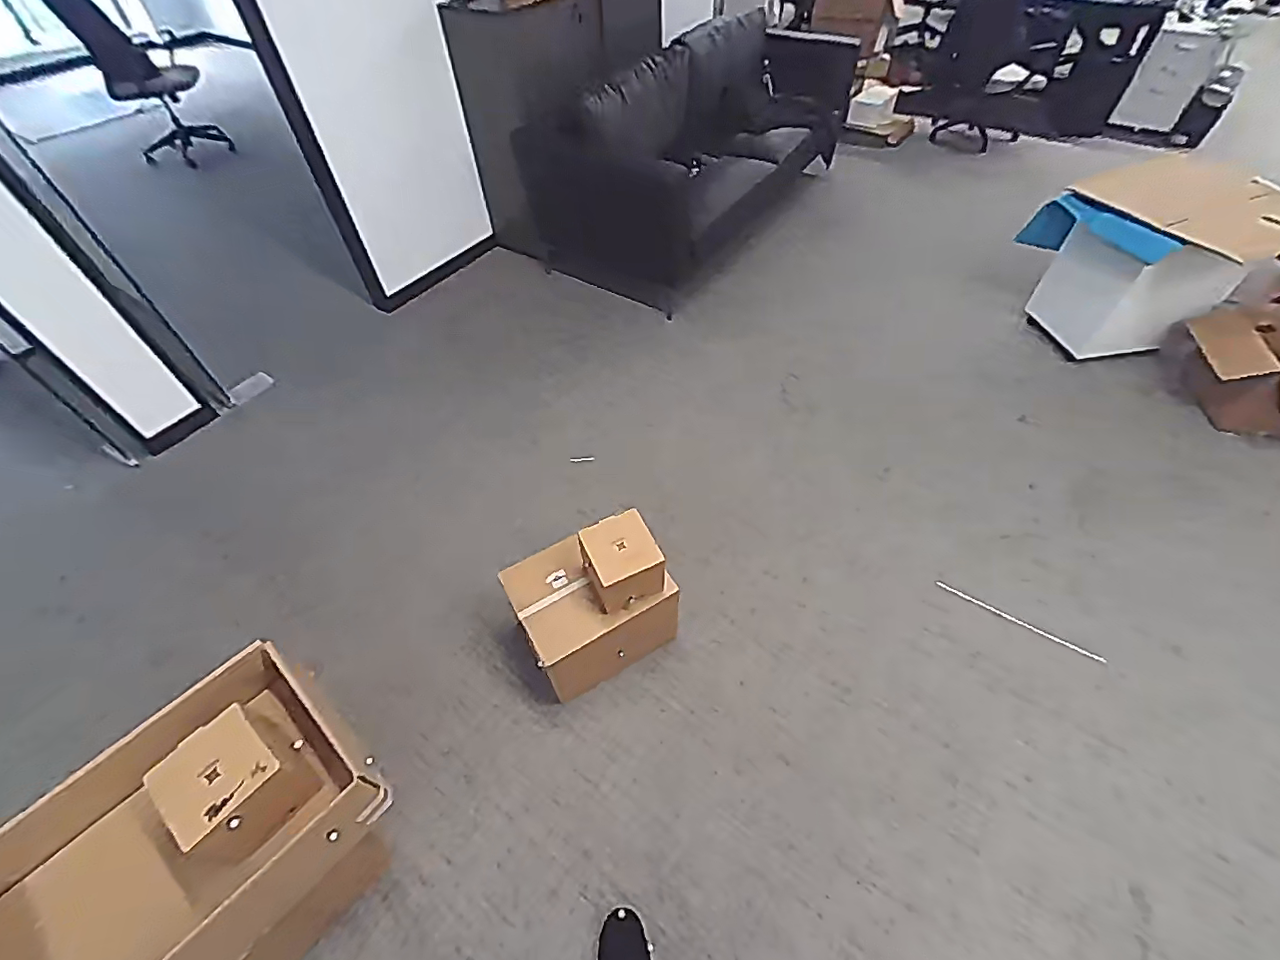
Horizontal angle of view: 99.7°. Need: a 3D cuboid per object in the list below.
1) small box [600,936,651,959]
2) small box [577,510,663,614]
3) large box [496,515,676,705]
[{"bbox_3d":[-0.017,1.083,1.111,0.179,0.176,0.168,18,52,26],"label":"small box"},{"bbox_3d":[-0.052,0.212,1.390,0.168,0.176,0.179,-21,56,-14],"label":"small box"},{"bbox_3d":[-0.144,0.376,1.576,0.408,0.320,0.320,-27,55,-18],"label":"large box"}]
